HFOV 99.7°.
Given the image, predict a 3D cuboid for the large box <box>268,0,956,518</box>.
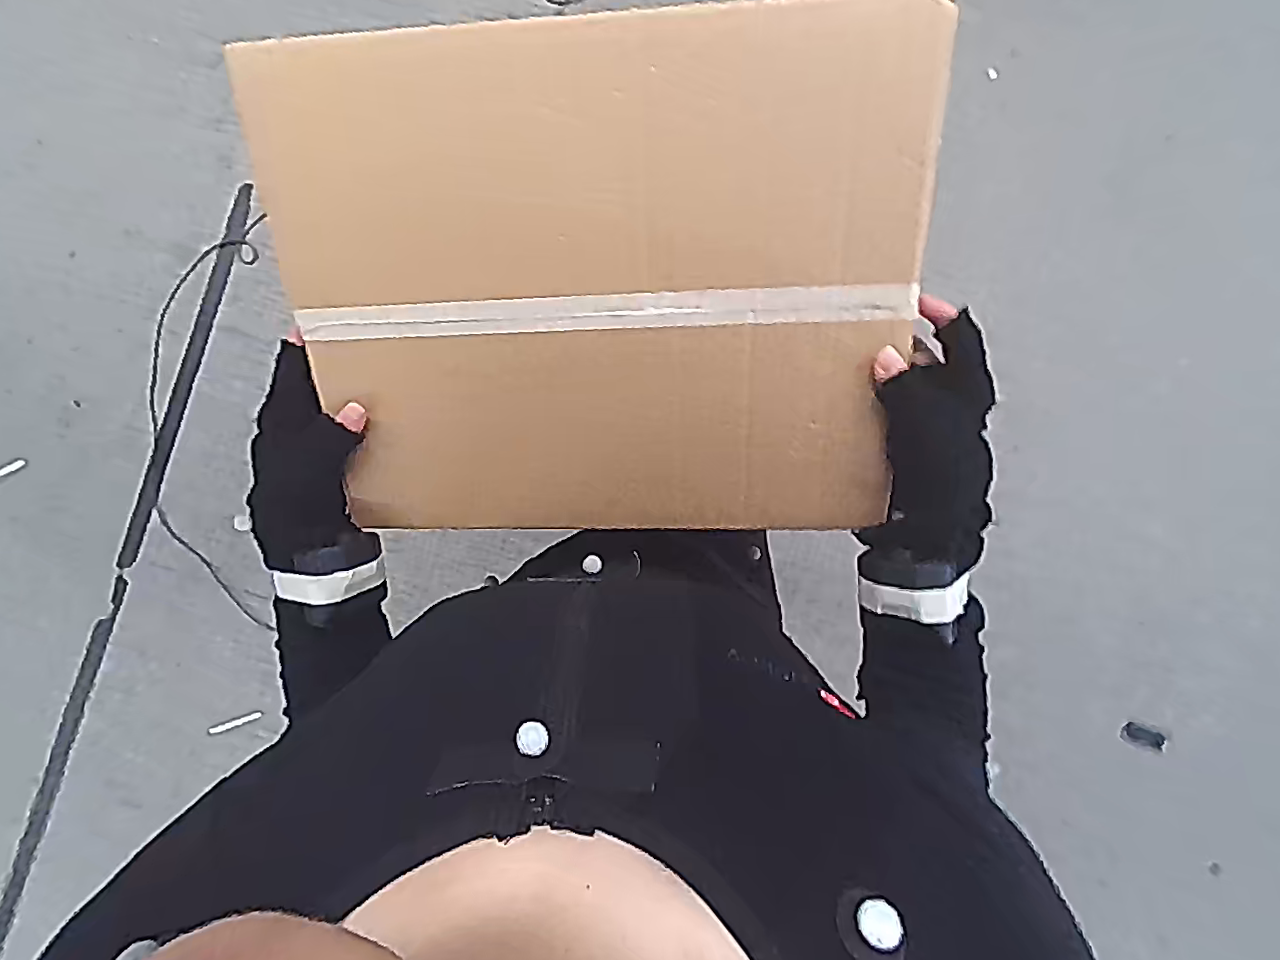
[{"bbox_3d":[-0.012,-0.169,0.498,0.408,0.320,0.320,0,113,5],"label":"large box"}]
